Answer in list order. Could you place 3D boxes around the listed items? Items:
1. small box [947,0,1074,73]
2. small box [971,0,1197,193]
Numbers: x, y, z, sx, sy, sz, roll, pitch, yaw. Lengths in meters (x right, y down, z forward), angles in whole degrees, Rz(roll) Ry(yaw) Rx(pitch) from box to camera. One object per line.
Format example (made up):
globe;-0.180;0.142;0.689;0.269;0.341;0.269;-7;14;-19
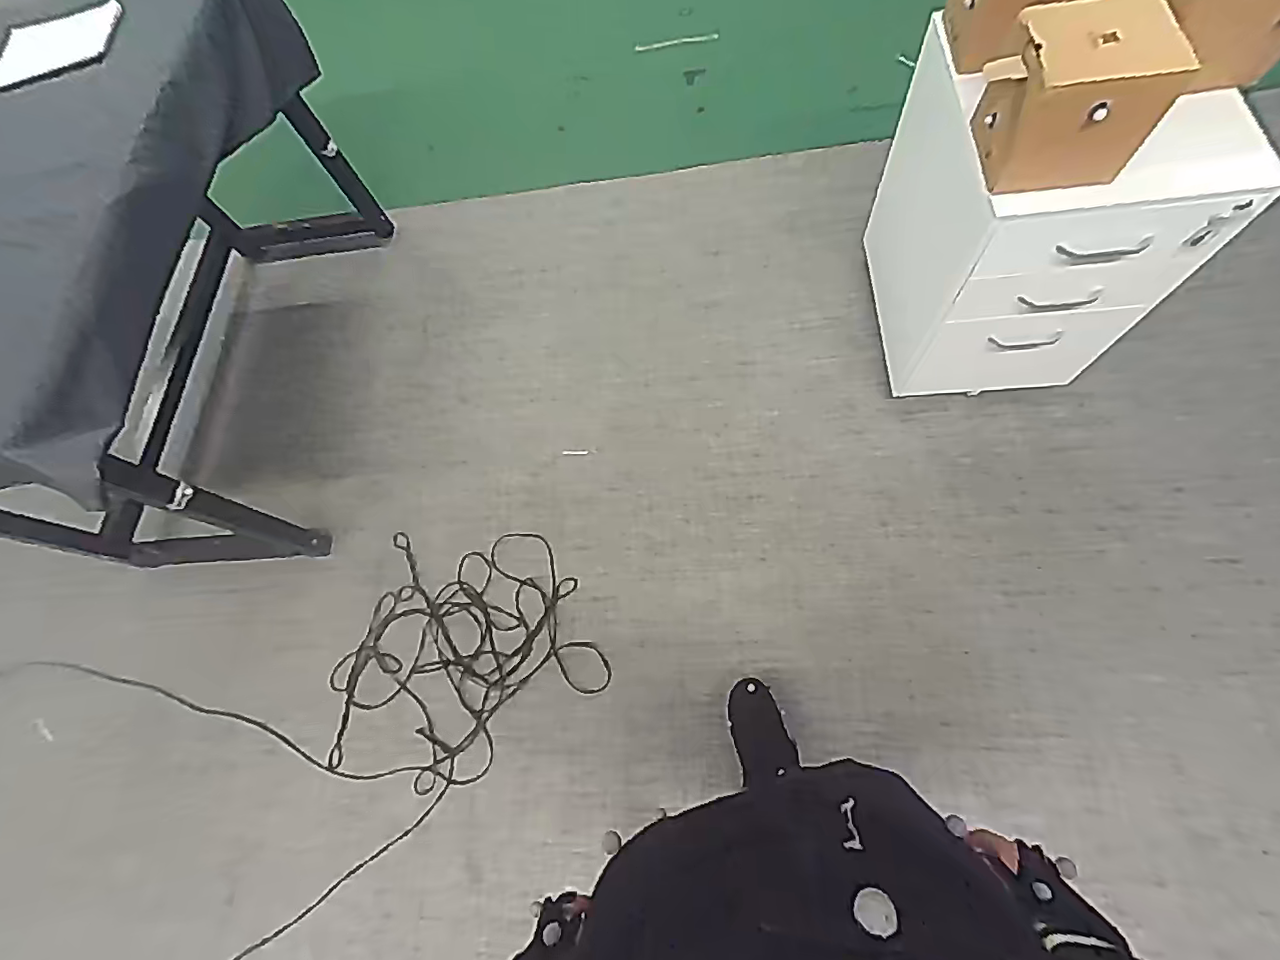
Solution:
small box;0.627;-0.806;0.883;0.179;0.176;0.168;-1;70;7
small box;0.620;-0.549;0.783;0.179;0.176;0.168;-2;69;8
